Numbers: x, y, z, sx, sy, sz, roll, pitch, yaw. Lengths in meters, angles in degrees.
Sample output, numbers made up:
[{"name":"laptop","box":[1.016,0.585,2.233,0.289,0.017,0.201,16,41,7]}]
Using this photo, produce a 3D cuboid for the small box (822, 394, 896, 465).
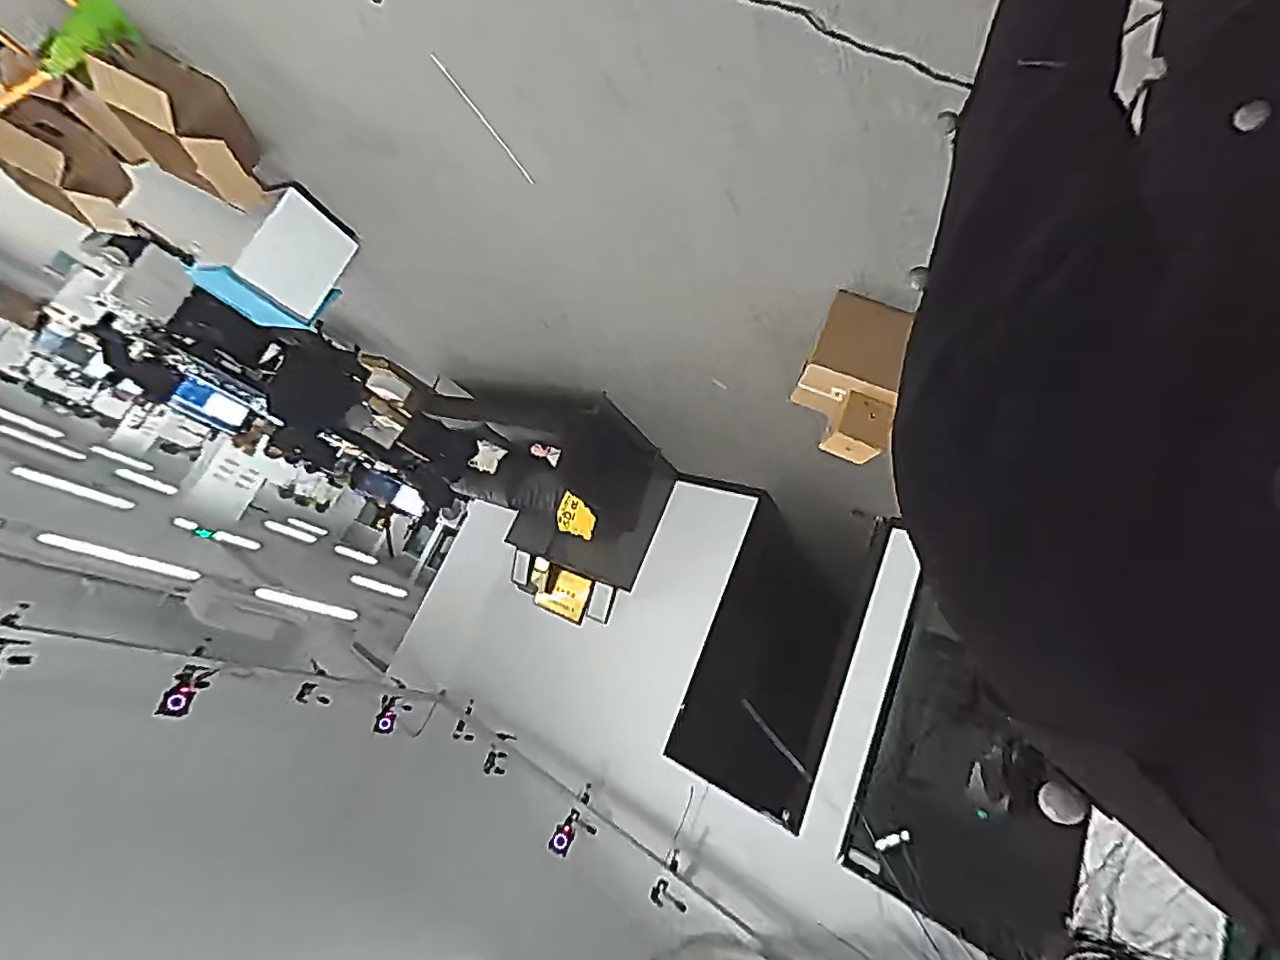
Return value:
[{"name":"small box","box":[0.771,-0.176,1.900,0.168,0.176,0.179,23,167,4]}]

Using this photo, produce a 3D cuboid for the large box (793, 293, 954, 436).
[{"name":"large box","box":[0.828,-0.411,1.956,0.408,0.320,0.320,23,166,9]}]
